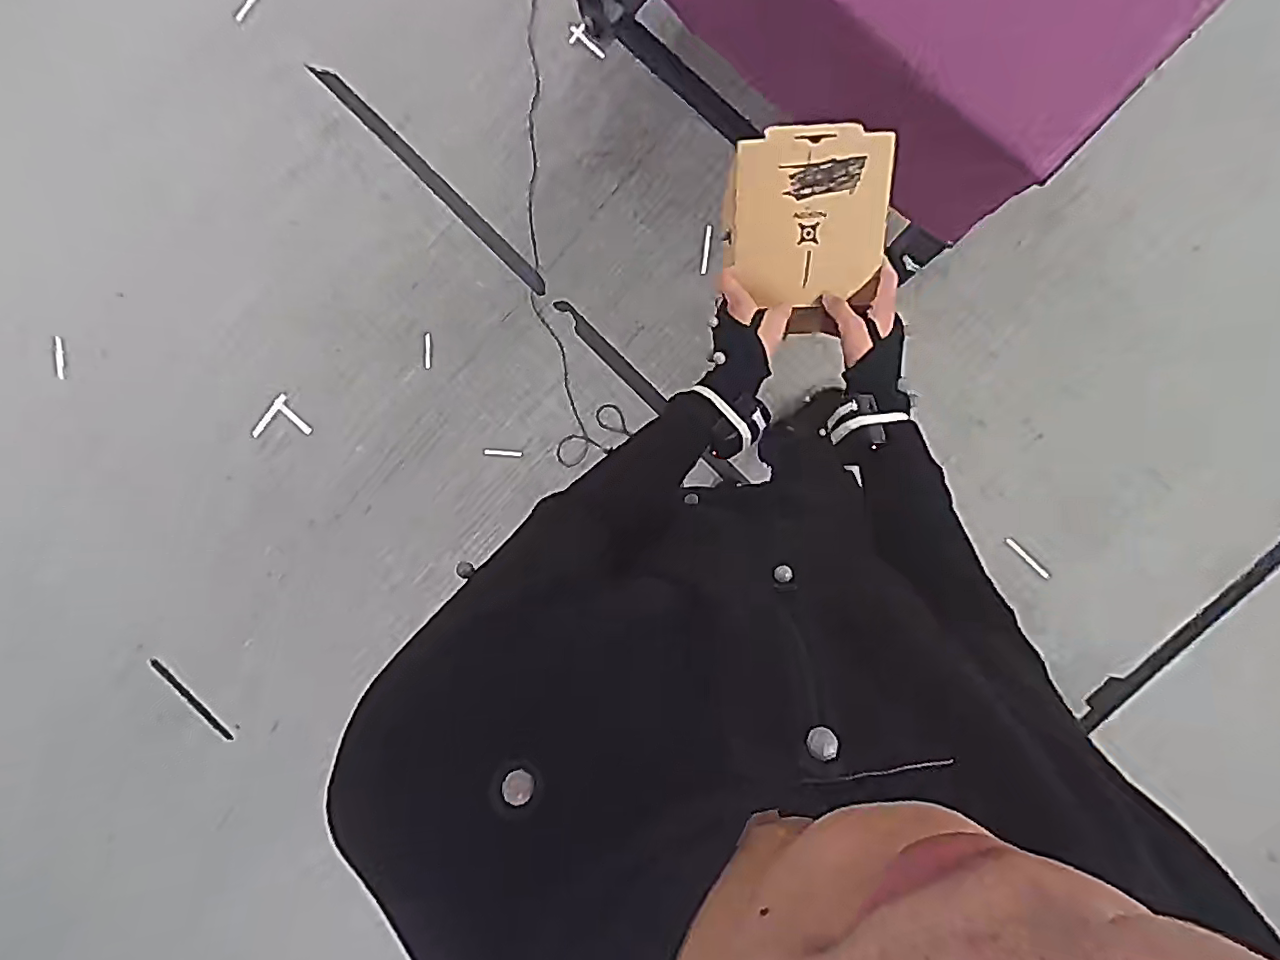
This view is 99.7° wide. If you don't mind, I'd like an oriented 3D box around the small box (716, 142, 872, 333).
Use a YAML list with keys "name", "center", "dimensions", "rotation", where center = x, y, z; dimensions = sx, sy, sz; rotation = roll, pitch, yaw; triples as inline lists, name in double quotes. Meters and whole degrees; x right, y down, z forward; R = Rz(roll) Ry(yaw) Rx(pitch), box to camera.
- name: "small box"
  center: [0.187, -0.297, 0.698]
  dimensions: [0.168, 0.176, 0.179]
  rotation: [-2, 94, 5]
